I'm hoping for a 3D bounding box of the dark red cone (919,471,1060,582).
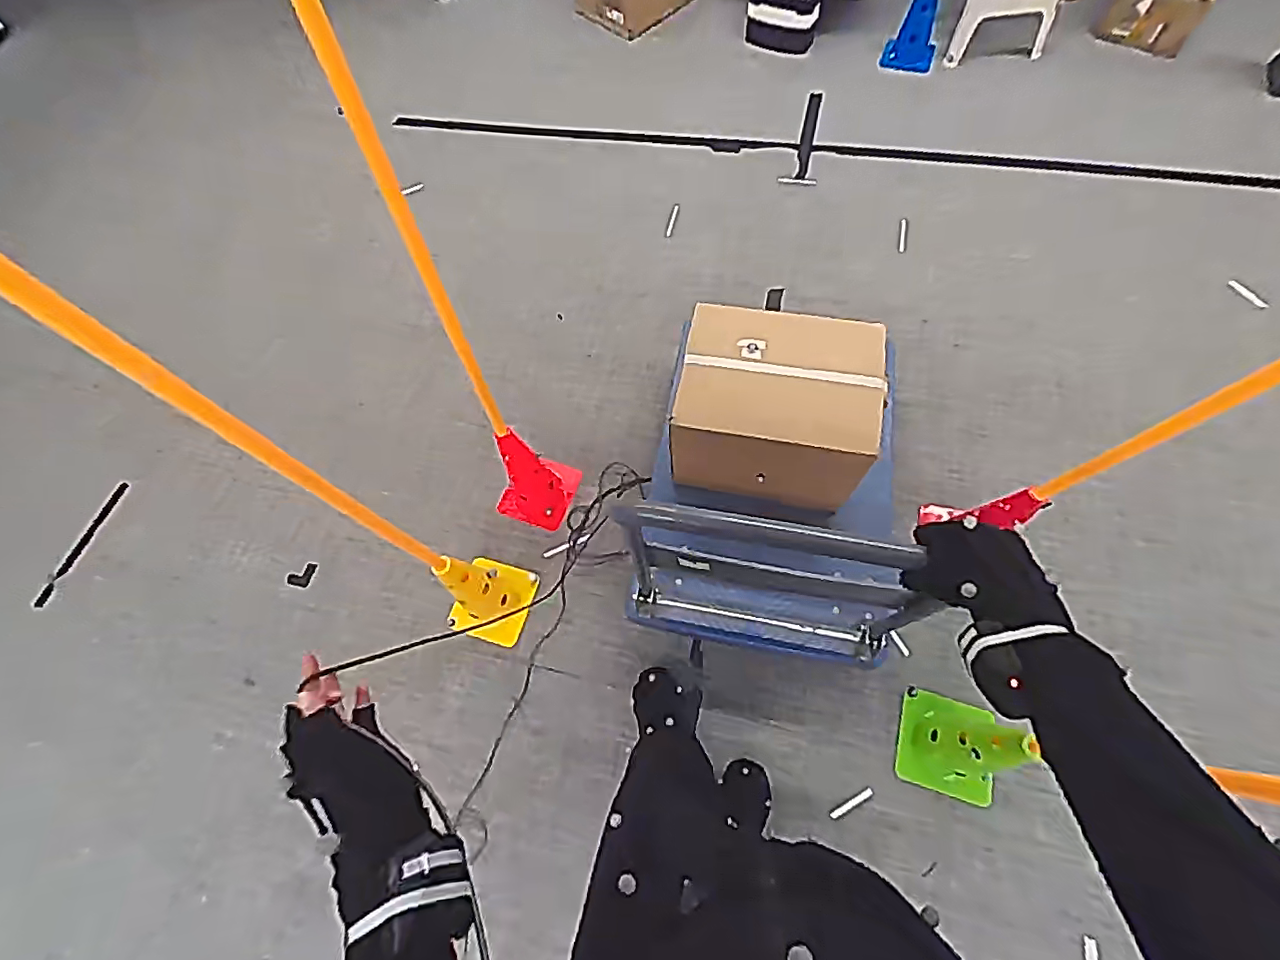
[{"bbox_3d":[0.811,0.081,1.232,0.201,0.394,0.202,12,68,8],"label":"dark red cone"}]

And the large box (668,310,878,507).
[{"bbox_3d":[0.294,-0.153,1.247,0.408,0.320,0.320,9,68,10],"label":"large box"}]

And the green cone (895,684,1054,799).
[{"bbox_3d":[0.676,0.516,1.065,0.202,0.368,0.200,15,68,10],"label":"green cone"}]

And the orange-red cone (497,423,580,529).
[{"bbox_3d":[-0.303,-0.043,1.409,0.198,0.360,0.199,18,67,12],"label":"orange-red cone"}]
